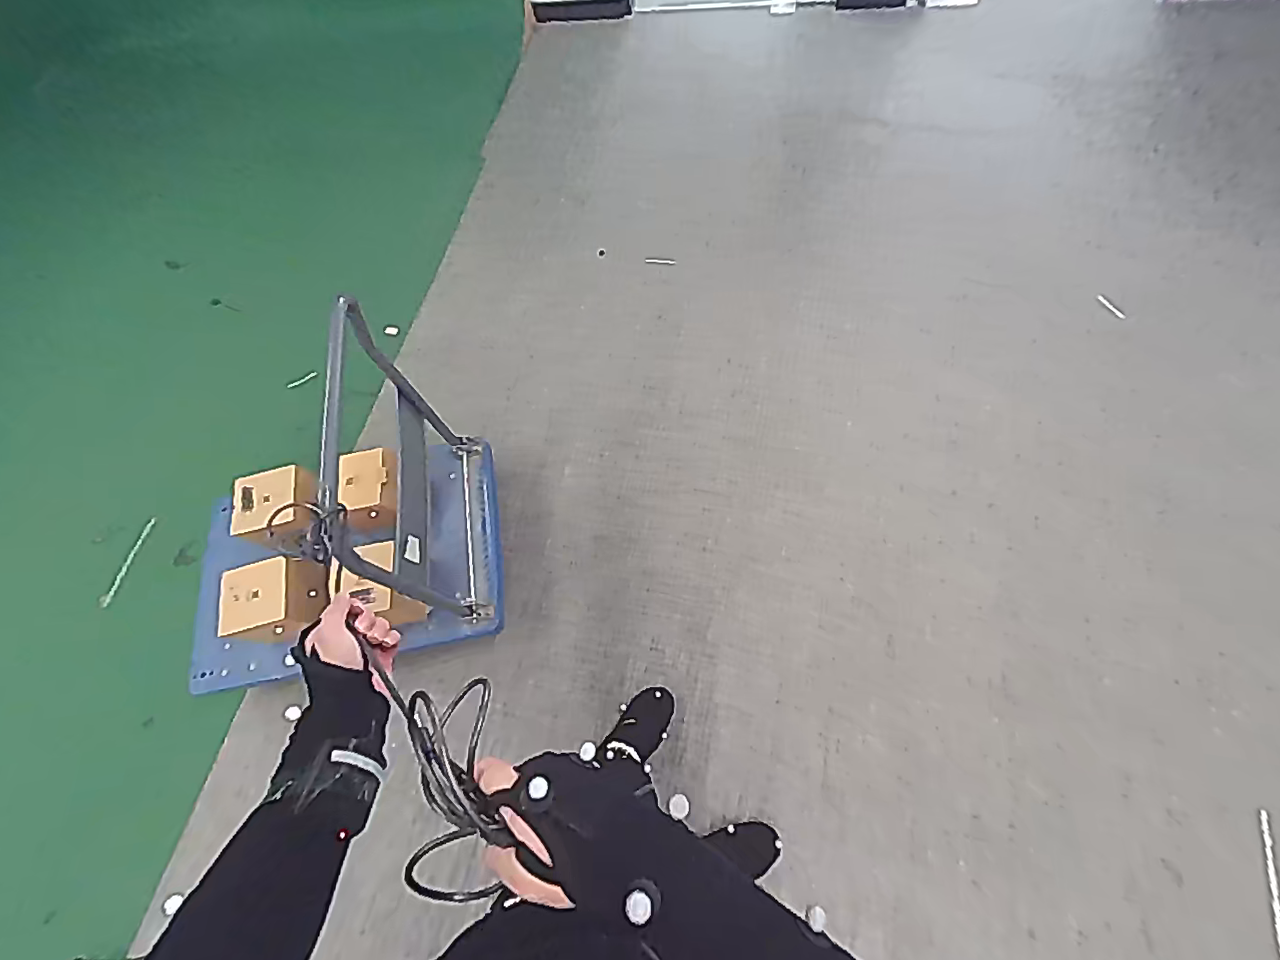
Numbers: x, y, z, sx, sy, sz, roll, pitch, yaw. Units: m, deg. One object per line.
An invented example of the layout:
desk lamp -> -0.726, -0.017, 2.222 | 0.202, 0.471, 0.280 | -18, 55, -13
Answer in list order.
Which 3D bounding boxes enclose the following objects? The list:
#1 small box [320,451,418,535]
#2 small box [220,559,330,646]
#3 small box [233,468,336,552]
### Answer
small box -> -0.736, 0.042, 1.483 | 0.179, 0.176, 0.168 | -11, 67, 5
small box -> -0.931, 0.321, 1.397 | 0.179, 0.176, 0.168 | -16, 66, 3
small box -> -0.976, 0.090, 1.499 | 0.179, 0.176, 0.168 | -14, 67, 2
